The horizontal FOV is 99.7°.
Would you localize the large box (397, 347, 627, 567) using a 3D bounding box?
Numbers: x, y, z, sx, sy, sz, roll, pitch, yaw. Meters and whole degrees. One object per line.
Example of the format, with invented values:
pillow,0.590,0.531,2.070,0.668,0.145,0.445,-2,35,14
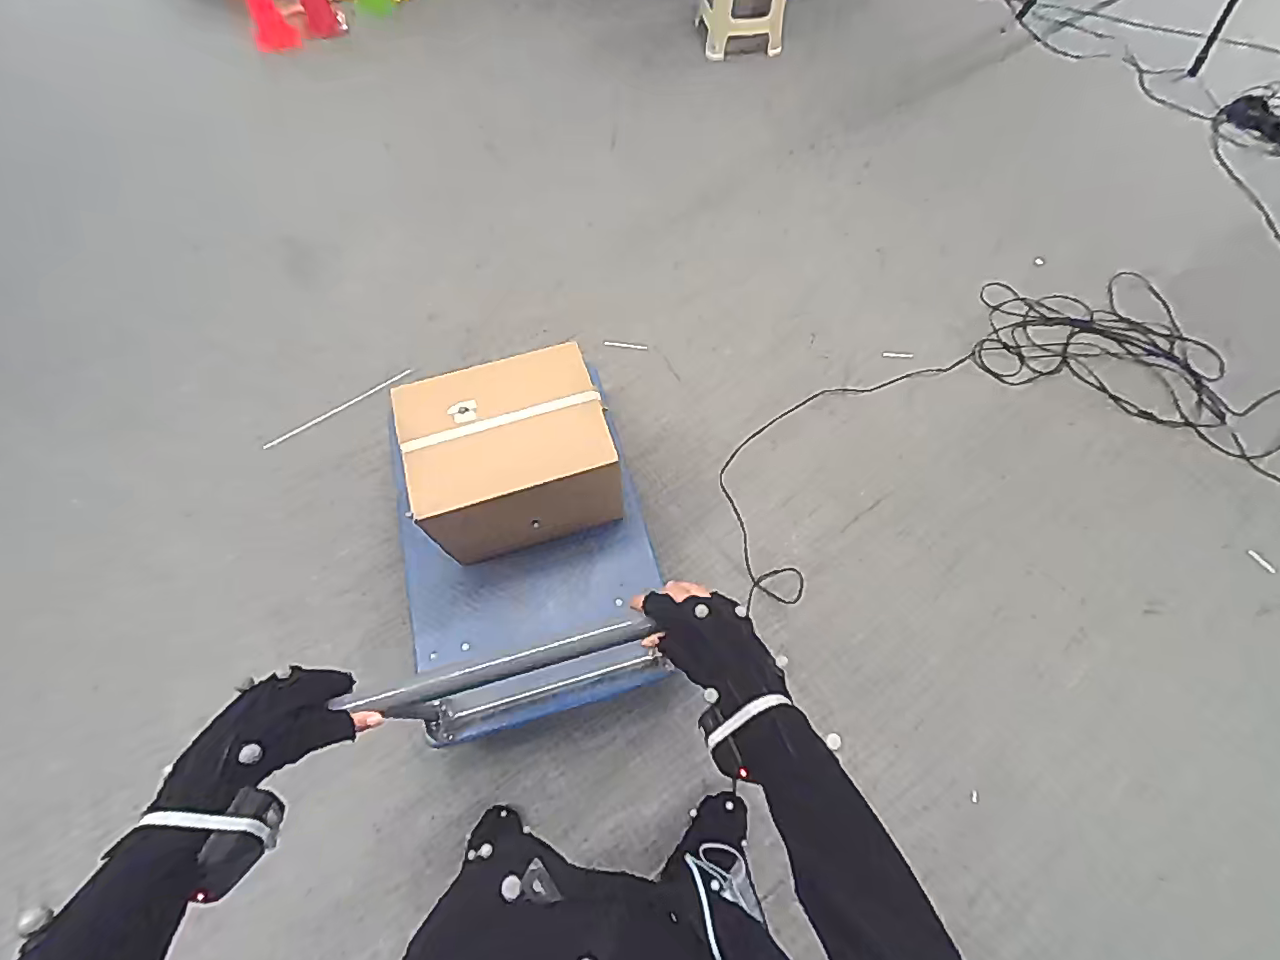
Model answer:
large box,-0.268,-0.040,1.231,0.408,0.320,0.320,-18,66,-7
